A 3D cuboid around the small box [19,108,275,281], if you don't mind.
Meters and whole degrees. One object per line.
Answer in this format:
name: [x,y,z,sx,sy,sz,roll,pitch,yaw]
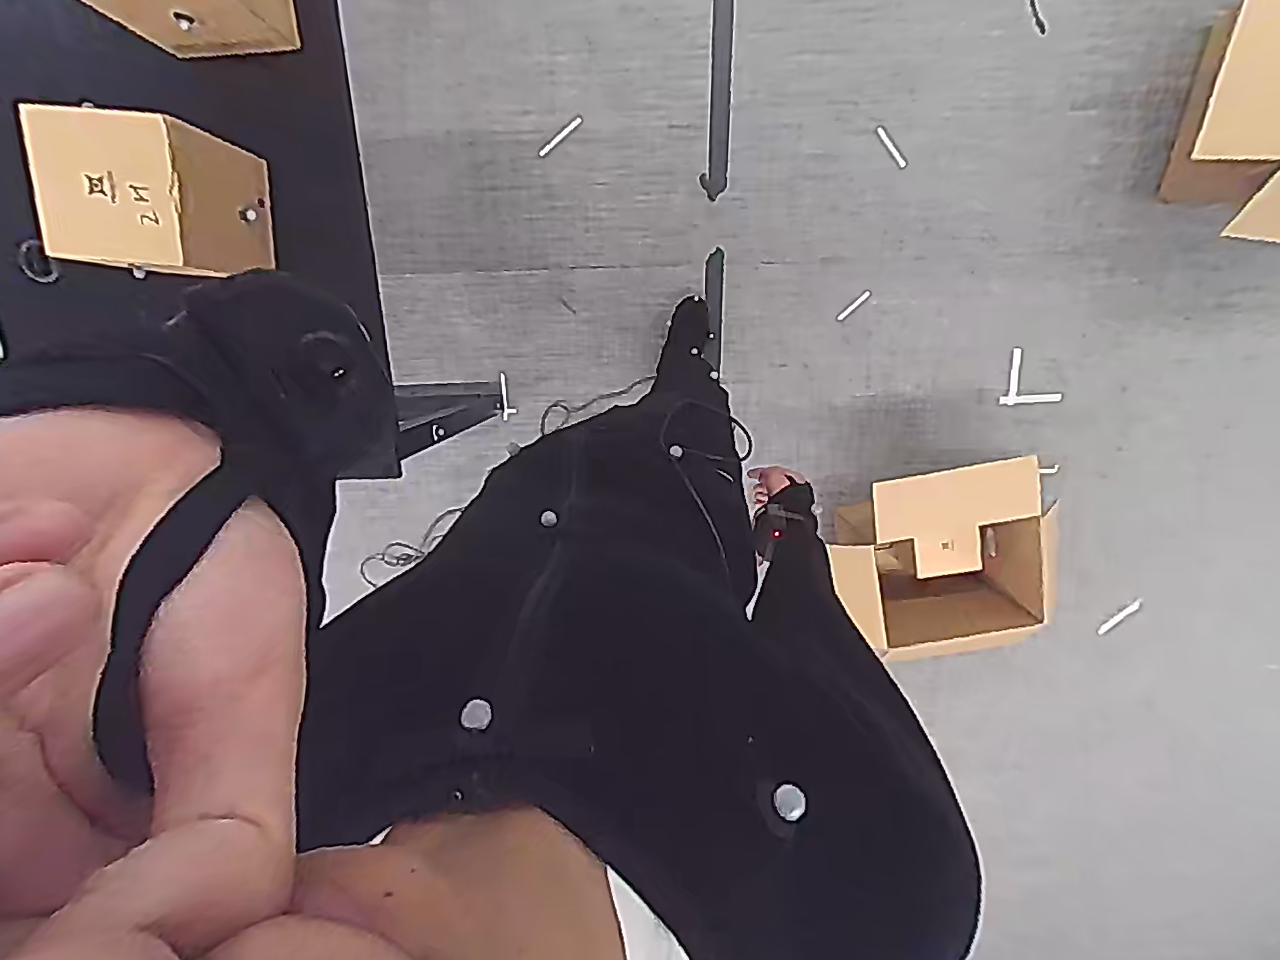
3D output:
small box: [-0.630,-0.362,0.715,0.179,0.176,0.168,4,105,1]
